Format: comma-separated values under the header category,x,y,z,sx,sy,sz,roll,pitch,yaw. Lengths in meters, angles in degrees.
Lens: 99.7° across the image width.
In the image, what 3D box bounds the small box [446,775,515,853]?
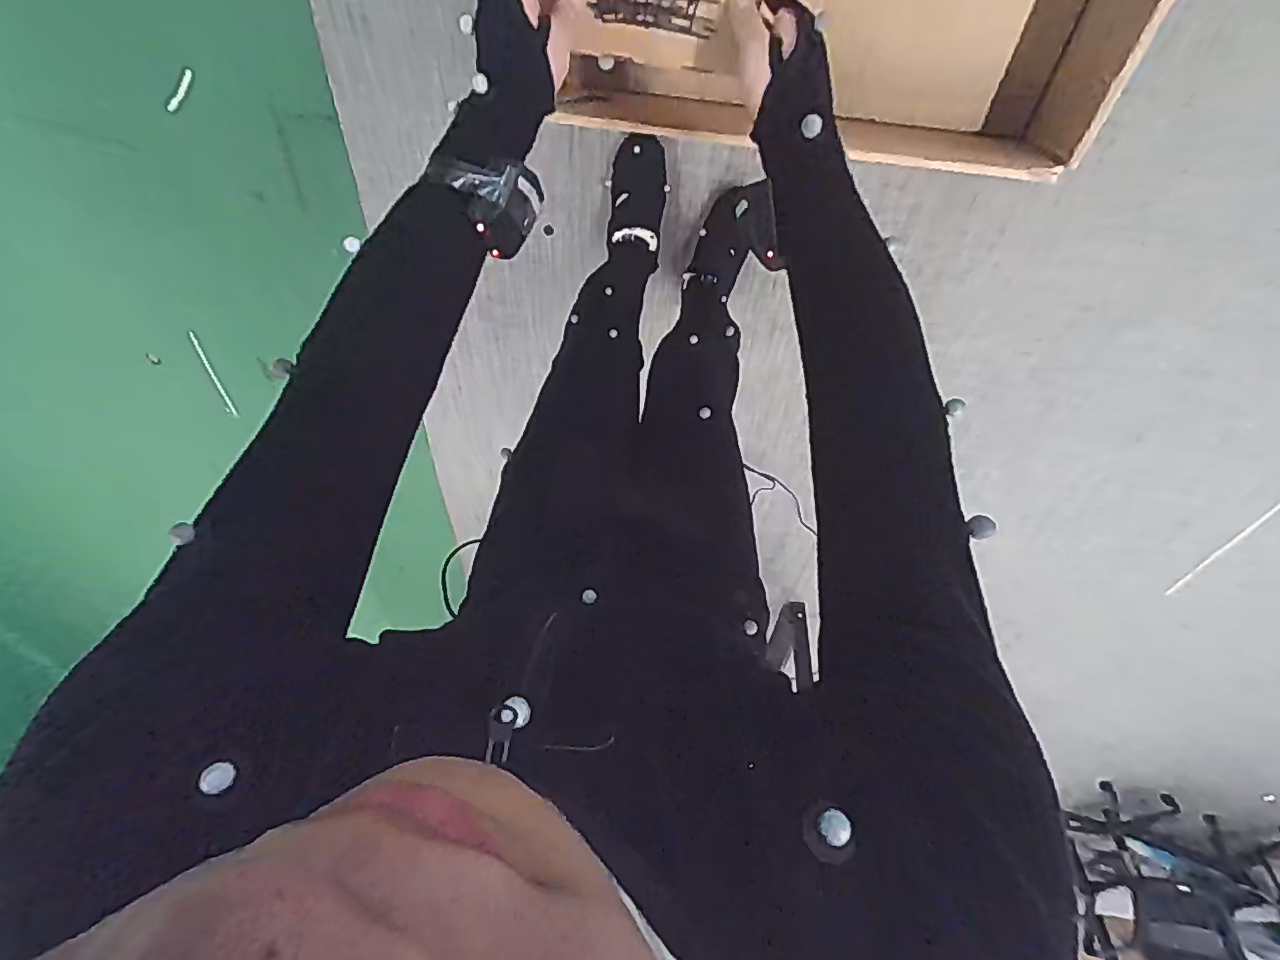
category,x,y,z,sx,sy,sz,roll,pitch,yaw
small box,-0.517,1.096,1.776,0.168,0.176,0.179,8,134,1
